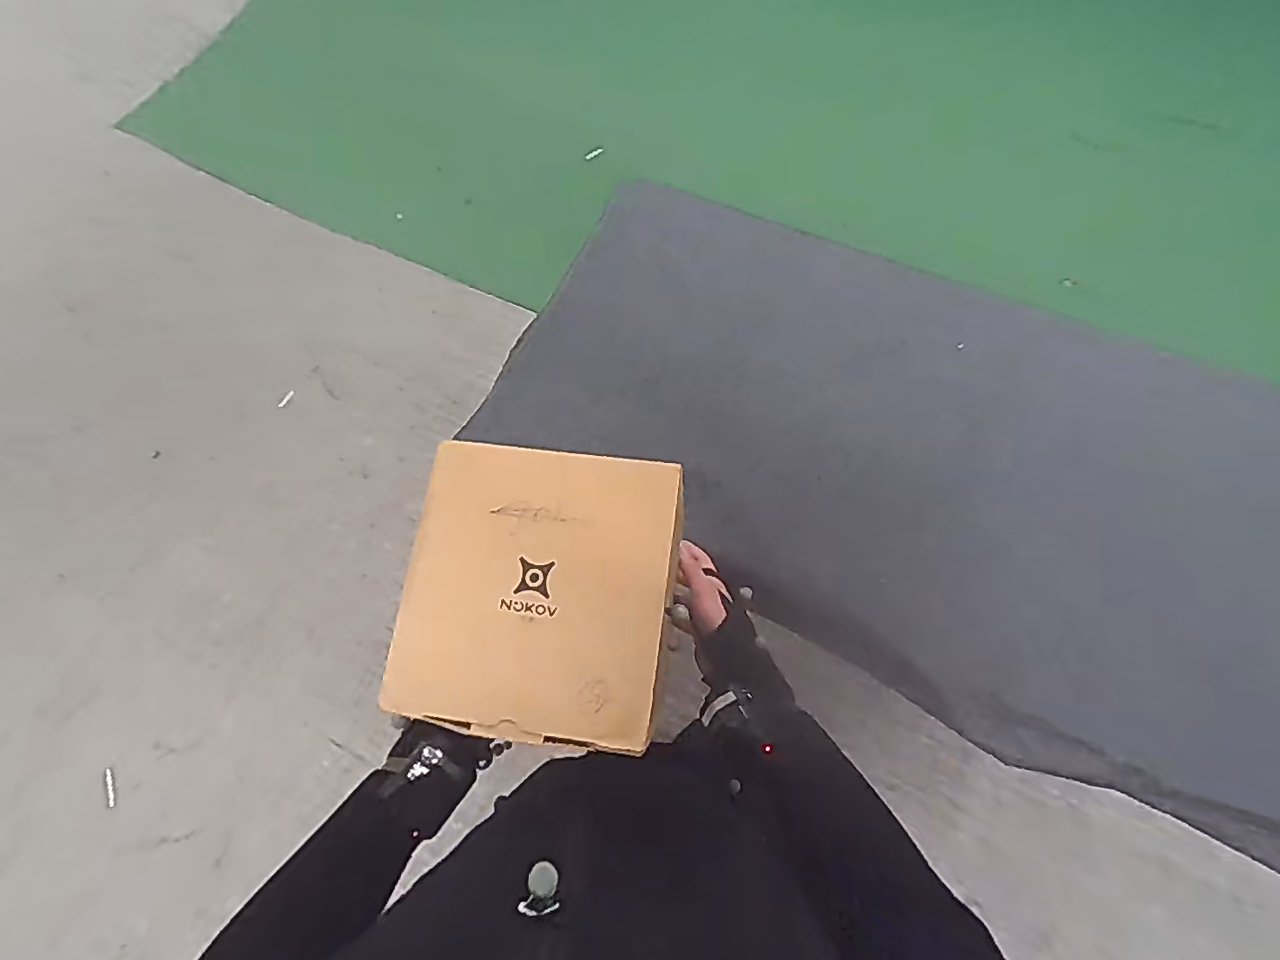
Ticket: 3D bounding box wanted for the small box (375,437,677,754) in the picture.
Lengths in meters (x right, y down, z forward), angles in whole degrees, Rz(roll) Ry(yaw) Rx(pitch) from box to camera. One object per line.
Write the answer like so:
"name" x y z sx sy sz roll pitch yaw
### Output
"small box" -0.062 0.084 0.412 0.168 0.176 0.179 7 75 5
